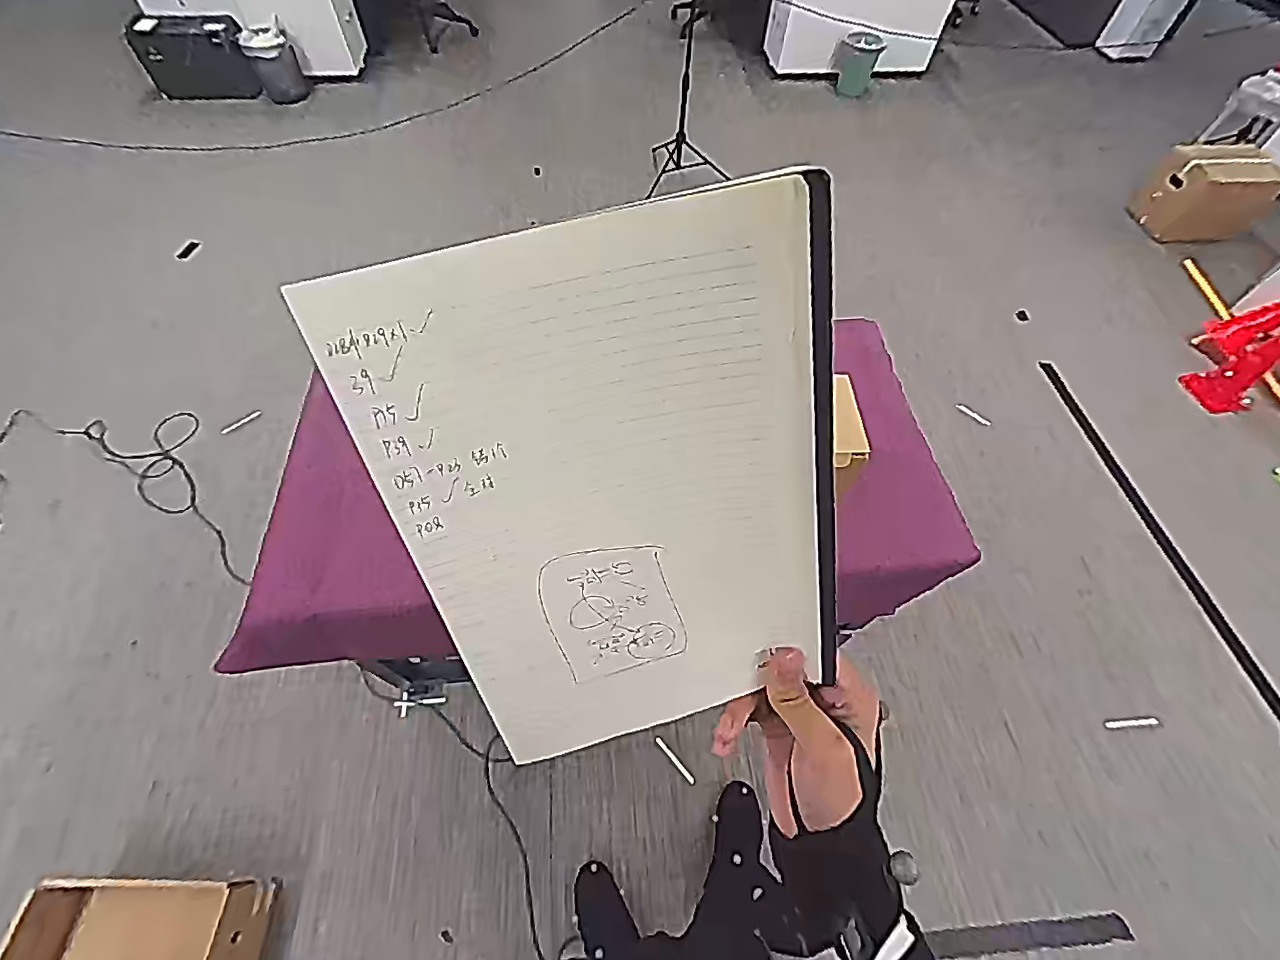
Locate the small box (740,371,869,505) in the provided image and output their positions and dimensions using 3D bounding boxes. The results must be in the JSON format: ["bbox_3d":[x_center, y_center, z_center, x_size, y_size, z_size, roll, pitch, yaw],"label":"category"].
[{"bbox_3d":[0.276,-0.068,0.951,0.168,0.176,0.179,2,57,-1],"label":"small box"}]
